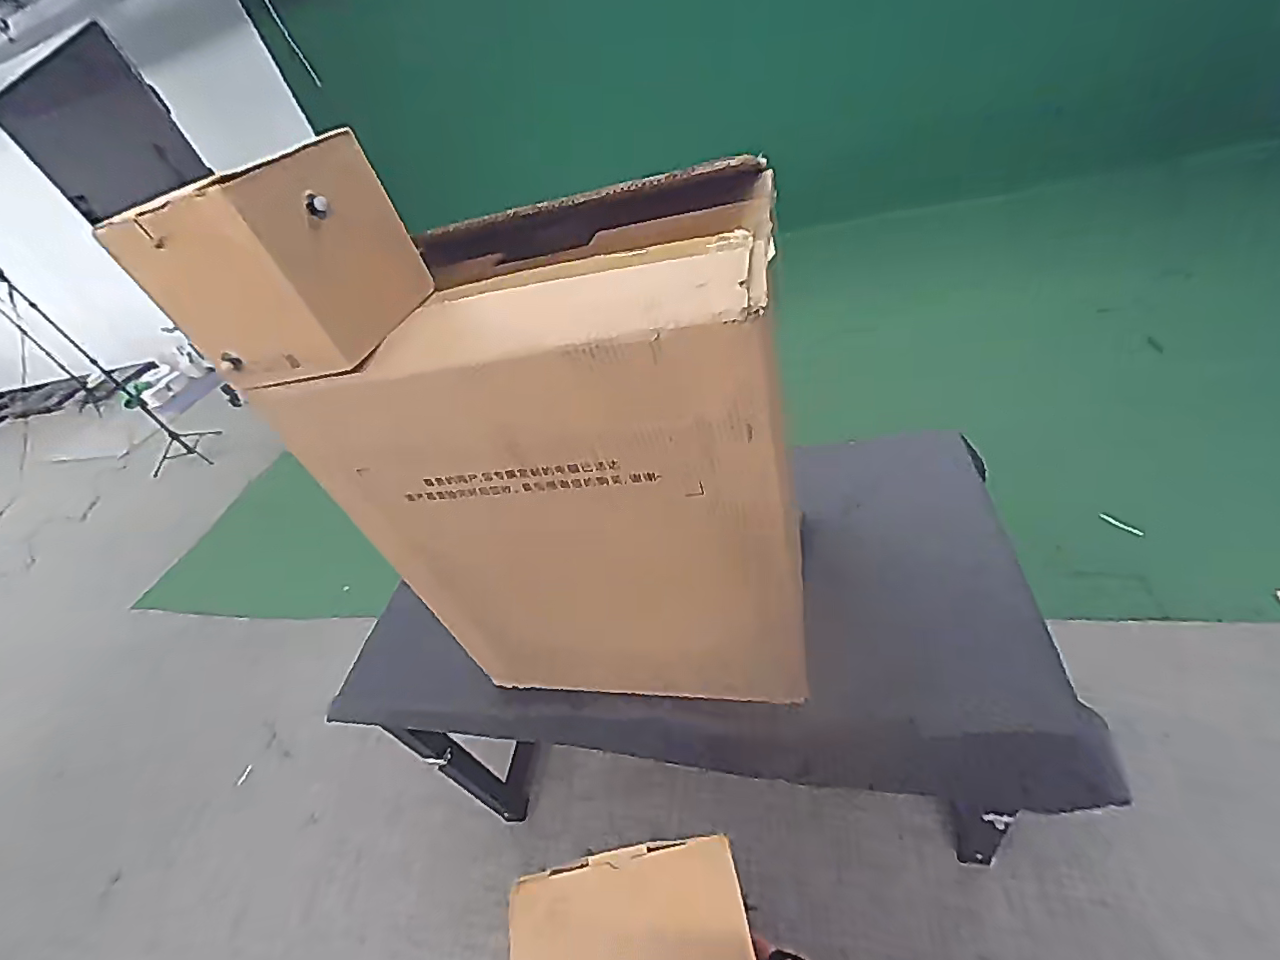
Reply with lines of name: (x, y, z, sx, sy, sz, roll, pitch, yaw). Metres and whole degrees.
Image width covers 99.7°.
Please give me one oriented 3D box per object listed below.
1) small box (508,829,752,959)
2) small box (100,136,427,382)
small box: (0.004, 0.389, 0.408, 0.168, 0.176, 0.179, -12, 52, -1)
small box: (-0.351, -0.212, 0.546, 0.168, 0.176, 0.179, -4, 42, 20)
